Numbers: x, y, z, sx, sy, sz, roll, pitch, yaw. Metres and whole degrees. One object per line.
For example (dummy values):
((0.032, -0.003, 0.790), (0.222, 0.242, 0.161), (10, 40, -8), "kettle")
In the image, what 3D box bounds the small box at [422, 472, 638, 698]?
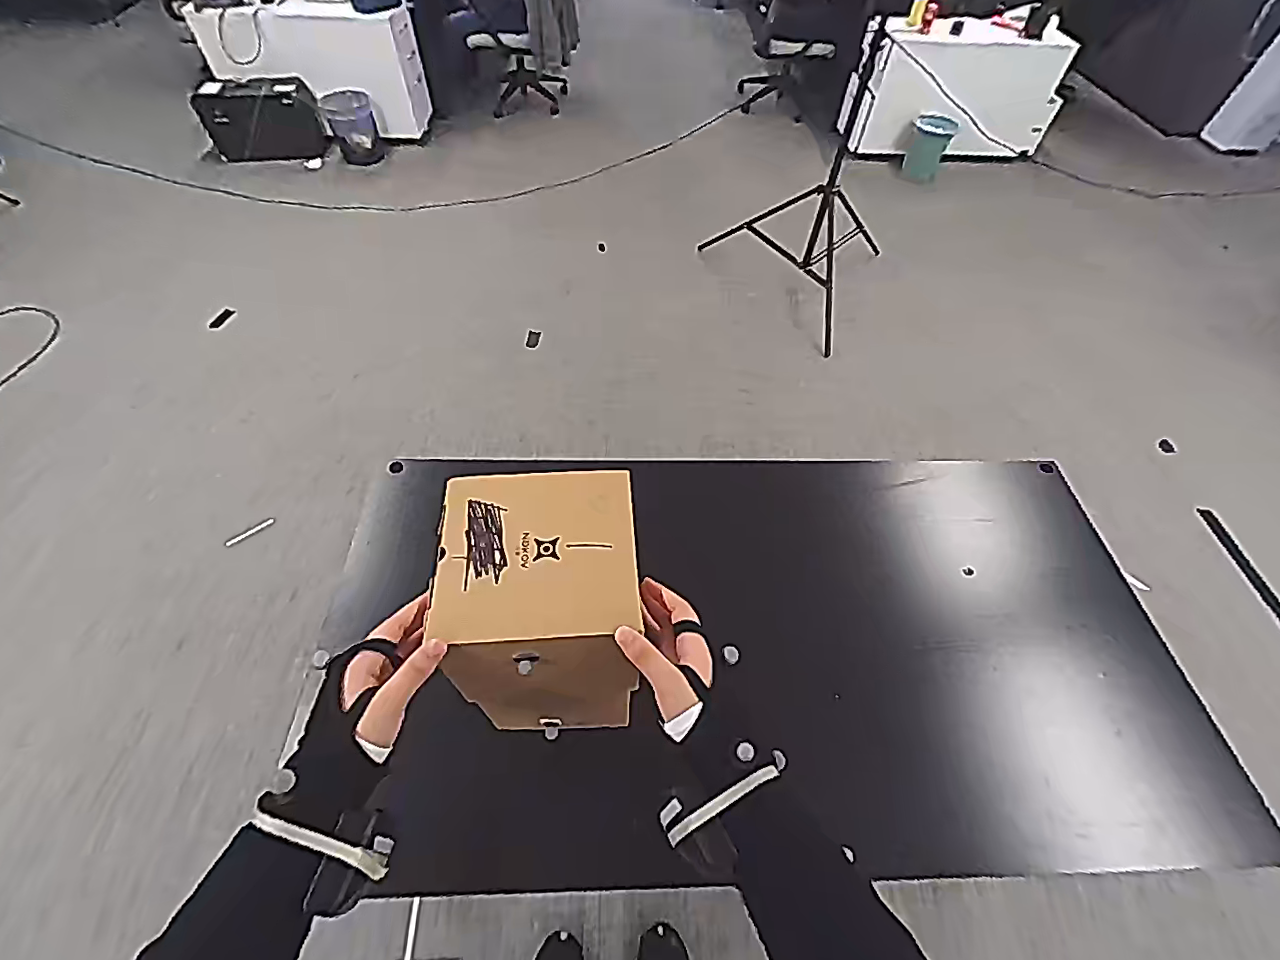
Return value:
((-0.094, 0.109, 0.543), (0.179, 0.176, 0.168), (-3, 54, -4), "small box")

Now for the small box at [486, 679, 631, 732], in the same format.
((-0.098, 0.202, 0.679), (0.168, 0.176, 0.179), (-2, 54, -3), "small box")
